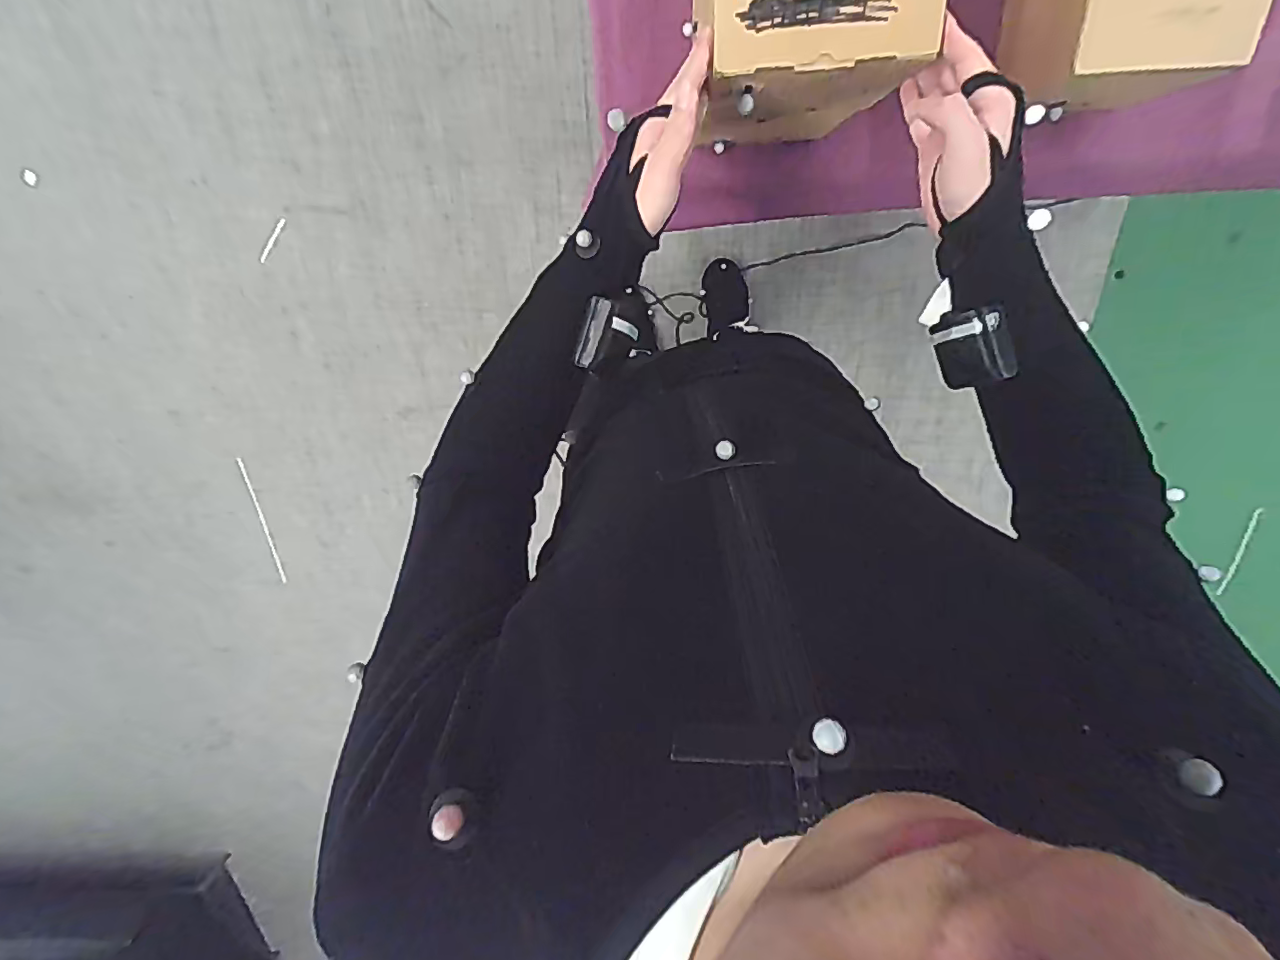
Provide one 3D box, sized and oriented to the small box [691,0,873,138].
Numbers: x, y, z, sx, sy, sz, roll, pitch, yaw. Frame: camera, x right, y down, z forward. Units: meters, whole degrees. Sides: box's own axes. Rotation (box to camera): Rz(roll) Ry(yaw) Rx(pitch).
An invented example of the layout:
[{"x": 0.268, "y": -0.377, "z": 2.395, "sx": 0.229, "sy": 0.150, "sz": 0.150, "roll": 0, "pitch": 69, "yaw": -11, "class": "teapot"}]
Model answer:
[{"x": 0.144, "y": -0.488, "z": 0.593, "sx": 0.168, "sy": 0.176, "sz": 0.179, "roll": -1, "pitch": 112, "yaw": 2, "class": "small box"}]
